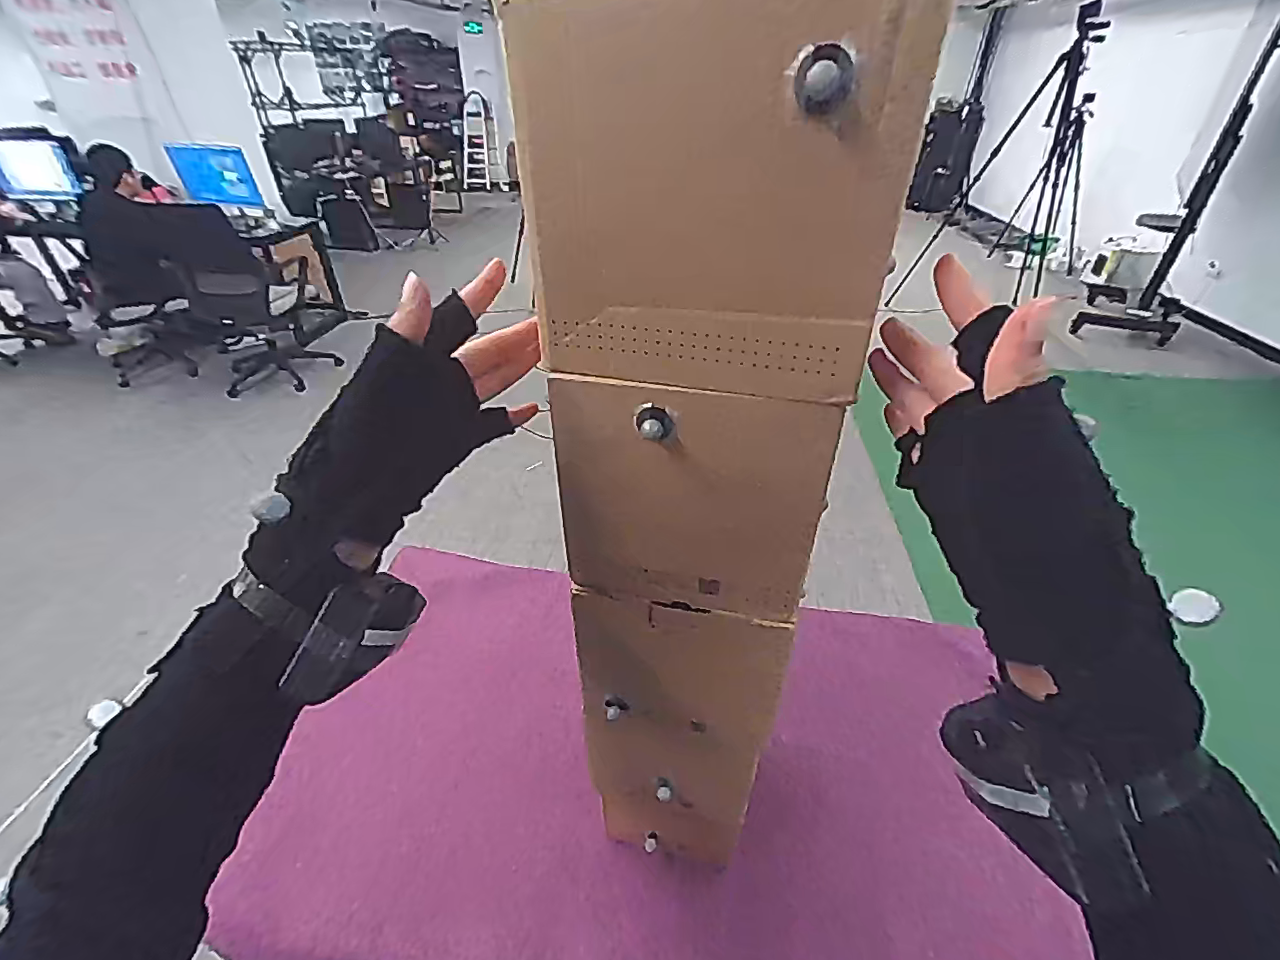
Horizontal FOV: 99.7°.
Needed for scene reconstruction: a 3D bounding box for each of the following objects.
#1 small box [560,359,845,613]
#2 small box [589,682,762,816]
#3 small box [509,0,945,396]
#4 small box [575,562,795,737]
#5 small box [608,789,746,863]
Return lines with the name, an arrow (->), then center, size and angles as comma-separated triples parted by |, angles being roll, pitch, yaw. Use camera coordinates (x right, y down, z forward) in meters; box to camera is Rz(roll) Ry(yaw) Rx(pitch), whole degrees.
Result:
small box -> 0.050, -0.030, 0.412 | 0.168, 0.176, 0.179 | 8, 35, 12
small box -> 0.047, 0.234, 0.606 | 0.168, 0.176, 0.179 | 6, 36, 10
small box -> 0.048, -0.162, 0.316 | 0.179, 0.176, 0.168 | 10, 37, 12
small box -> 0.049, 0.106, 0.503 | 0.168, 0.176, 0.179 | 7, 35, 10
small box -> 0.055, 0.358, 0.713 | 0.168, 0.176, 0.179 | 7, 37, 11
